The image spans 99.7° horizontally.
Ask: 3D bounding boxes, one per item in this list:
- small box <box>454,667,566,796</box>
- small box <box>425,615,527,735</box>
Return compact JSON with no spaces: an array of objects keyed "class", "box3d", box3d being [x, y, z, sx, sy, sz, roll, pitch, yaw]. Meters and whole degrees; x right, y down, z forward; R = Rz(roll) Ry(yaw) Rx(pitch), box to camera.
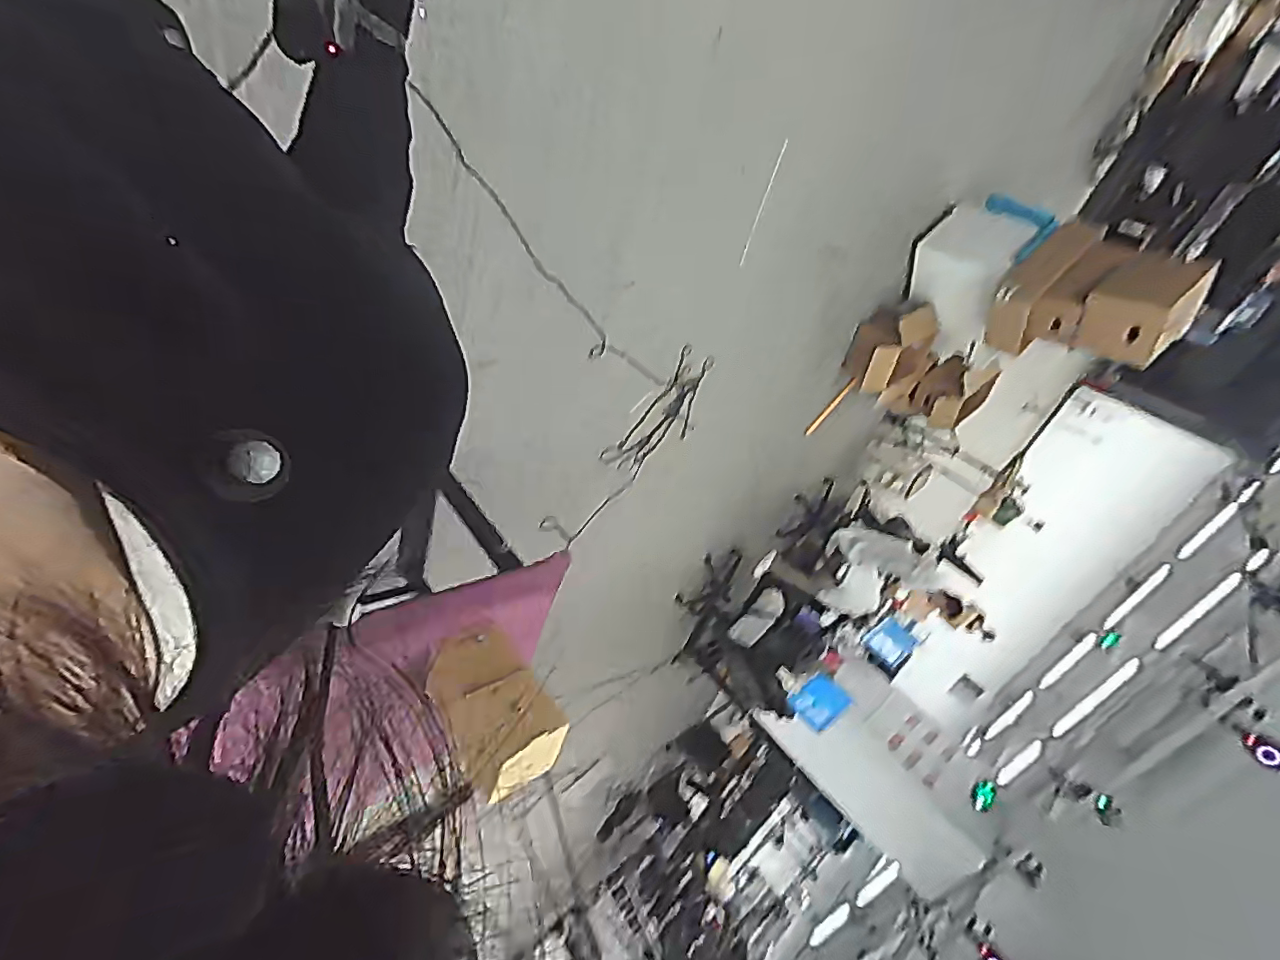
[{"class":"small box","box3d":[-0.292,0.541,1.195,0.168,0.176,0.179,-11,132,-44]},{"class":"small box","box3d":[-0.397,0.457,1.289,0.168,0.176,0.179,-13,133,-43]}]
